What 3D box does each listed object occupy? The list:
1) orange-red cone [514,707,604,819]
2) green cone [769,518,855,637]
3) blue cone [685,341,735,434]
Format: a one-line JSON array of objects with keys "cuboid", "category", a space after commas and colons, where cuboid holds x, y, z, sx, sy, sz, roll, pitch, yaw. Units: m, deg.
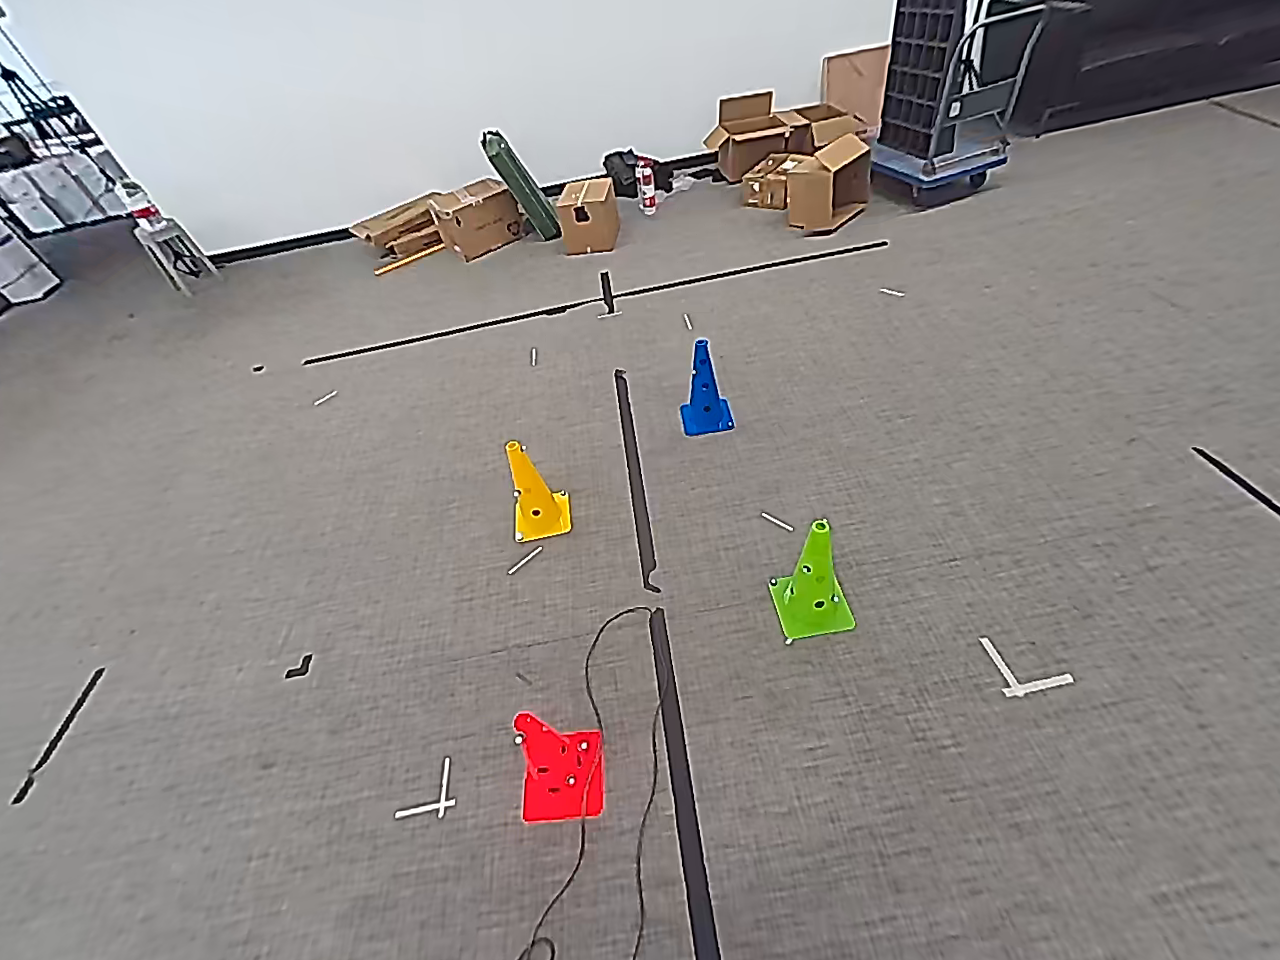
[{"cuboid": [-0.218, 0.609, 1.230, 0.199, 0.360, 0.198, -8, 44, 5], "category": "orange-red cone"}, {"cuboid": [0.473, 0.237, 1.448, 0.202, 0.368, 0.200, -10, 45, 1], "category": "green cone"}, {"cuboid": [0.264, -0.371, 2.106, 0.192, 0.380, 0.193, -7, 45, 3], "category": "blue cone"}]
